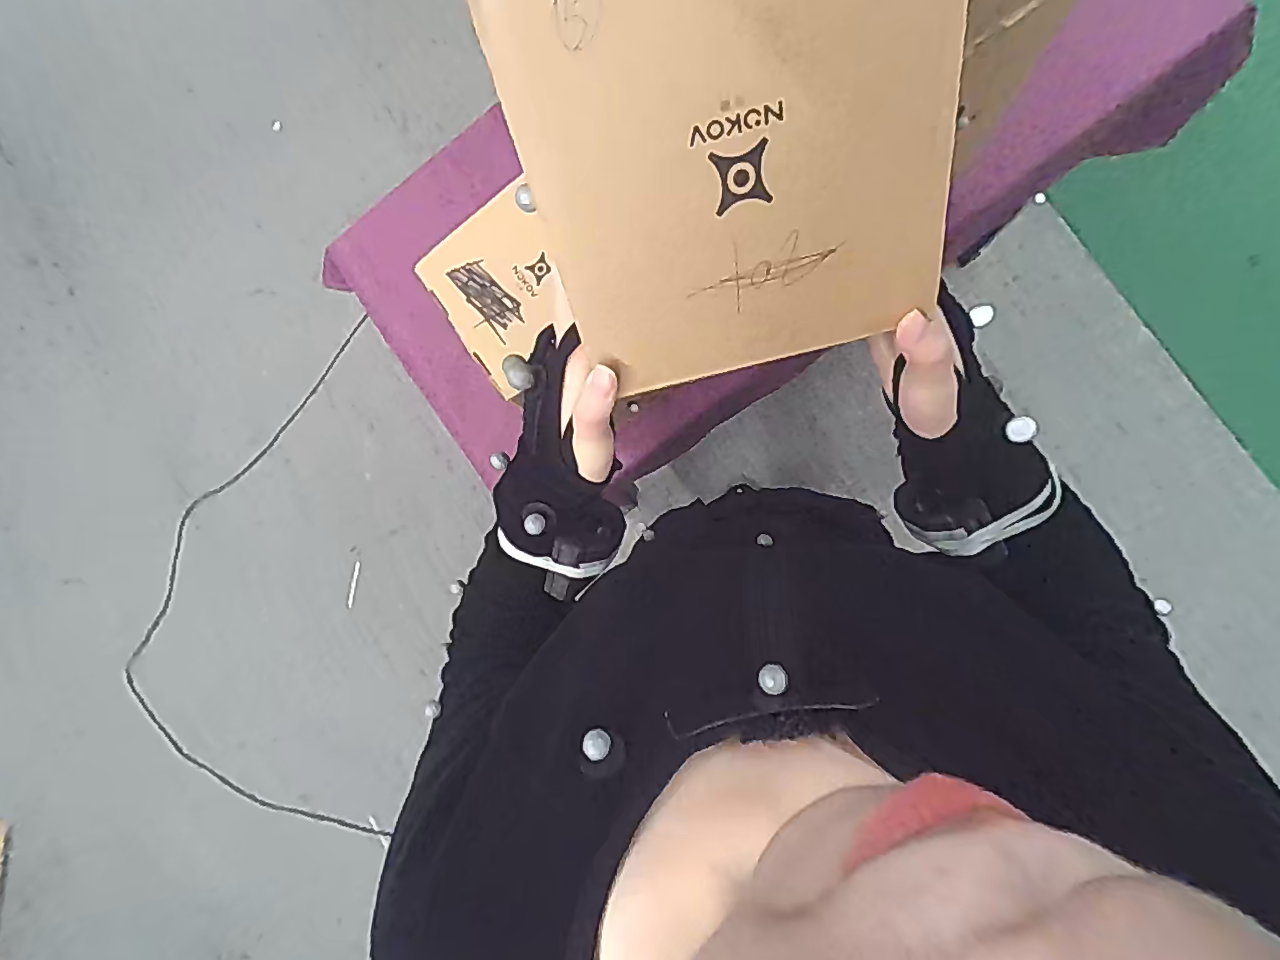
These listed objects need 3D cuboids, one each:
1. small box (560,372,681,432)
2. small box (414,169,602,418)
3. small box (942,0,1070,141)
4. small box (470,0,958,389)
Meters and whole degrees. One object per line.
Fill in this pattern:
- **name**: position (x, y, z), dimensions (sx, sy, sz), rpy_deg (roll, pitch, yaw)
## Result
- **small box**: position (-0.060, -0.178, 0.730), dimensions (0.168, 0.176, 0.179), rpy_deg (-36, 82, 5)
- **small box**: position (-0.087, -0.185, 0.567), dimensions (0.179, 0.176, 0.168), rpy_deg (-37, 82, 5)
- **small box**: position (0.271, -0.446, 0.523), dimensions (0.168, 0.176, 0.179), rpy_deg (-36, 83, 6)
- **small box**: position (0.032, -0.176, 0.275), dimensions (0.168, 0.176, 0.179), rpy_deg (-11, 128, 7)
